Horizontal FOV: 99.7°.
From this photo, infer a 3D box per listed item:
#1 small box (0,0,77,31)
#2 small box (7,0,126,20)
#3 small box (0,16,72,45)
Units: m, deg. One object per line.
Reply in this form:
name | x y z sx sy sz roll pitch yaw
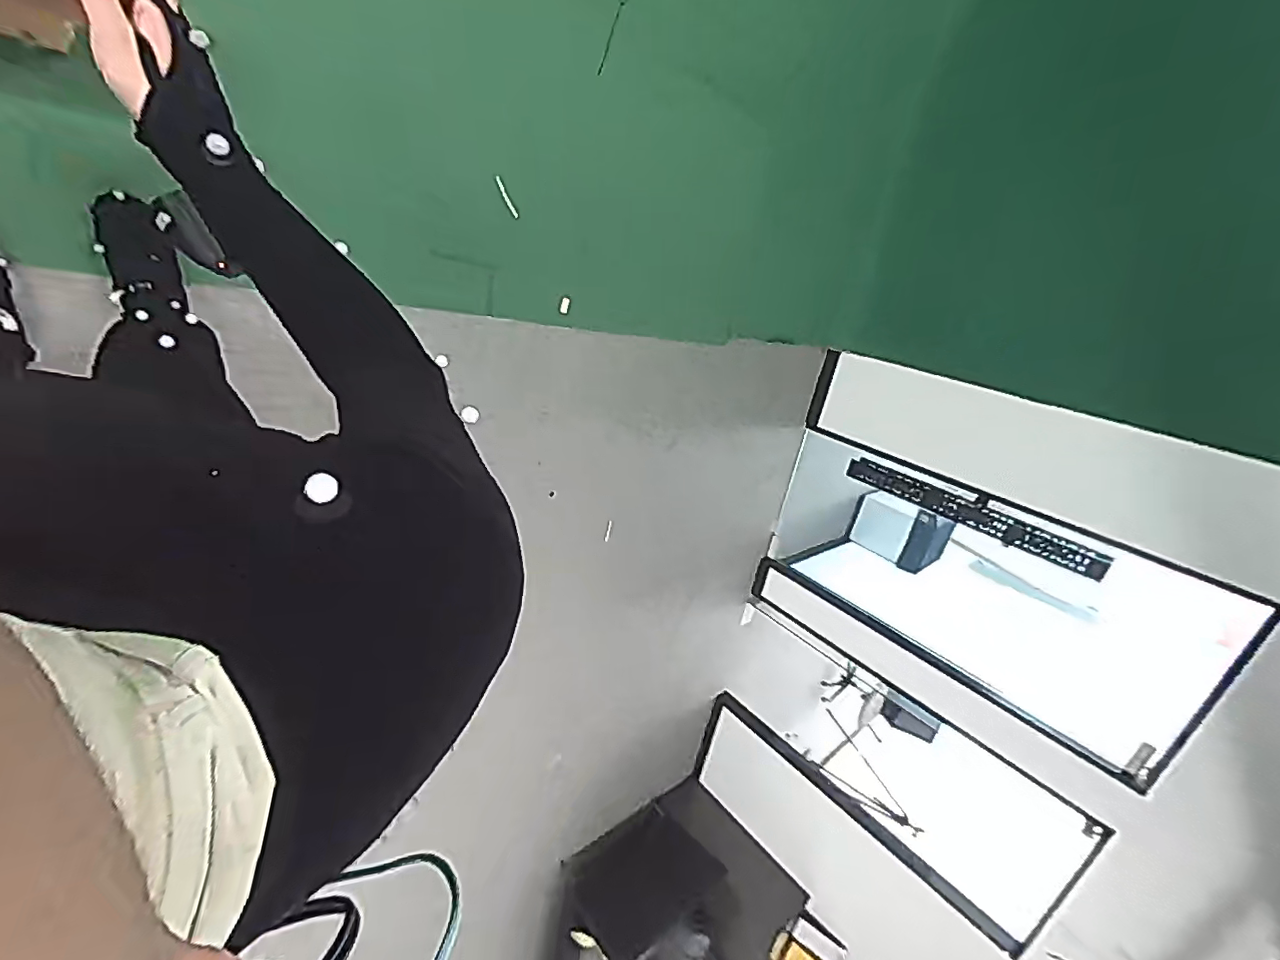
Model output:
small box | -0.891 -0.735 0.722 0.179 0.176 0.168 -10 120 -40
small box | -0.467 -0.442 0.349 0.179 0.176 0.168 -19 118 -41
small box | -1.003 -0.798 0.823 0.179 0.176 0.168 -7 119 -42
